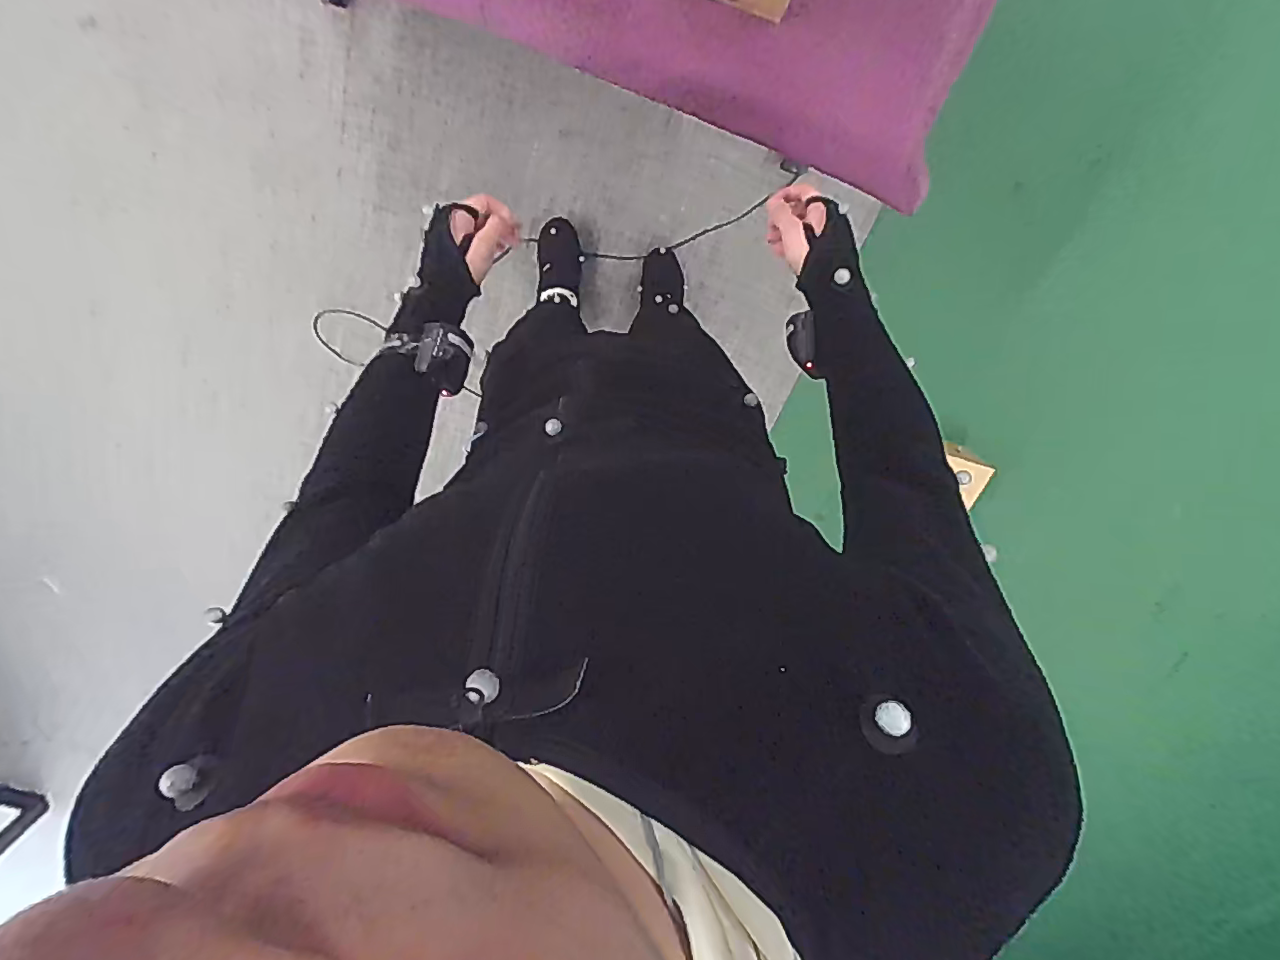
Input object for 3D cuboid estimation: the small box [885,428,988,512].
[{"bbox_3d":[0.847,-0.035,1.569,0.179,0.176,0.168,16,116,-5],"label":"small box"}]
